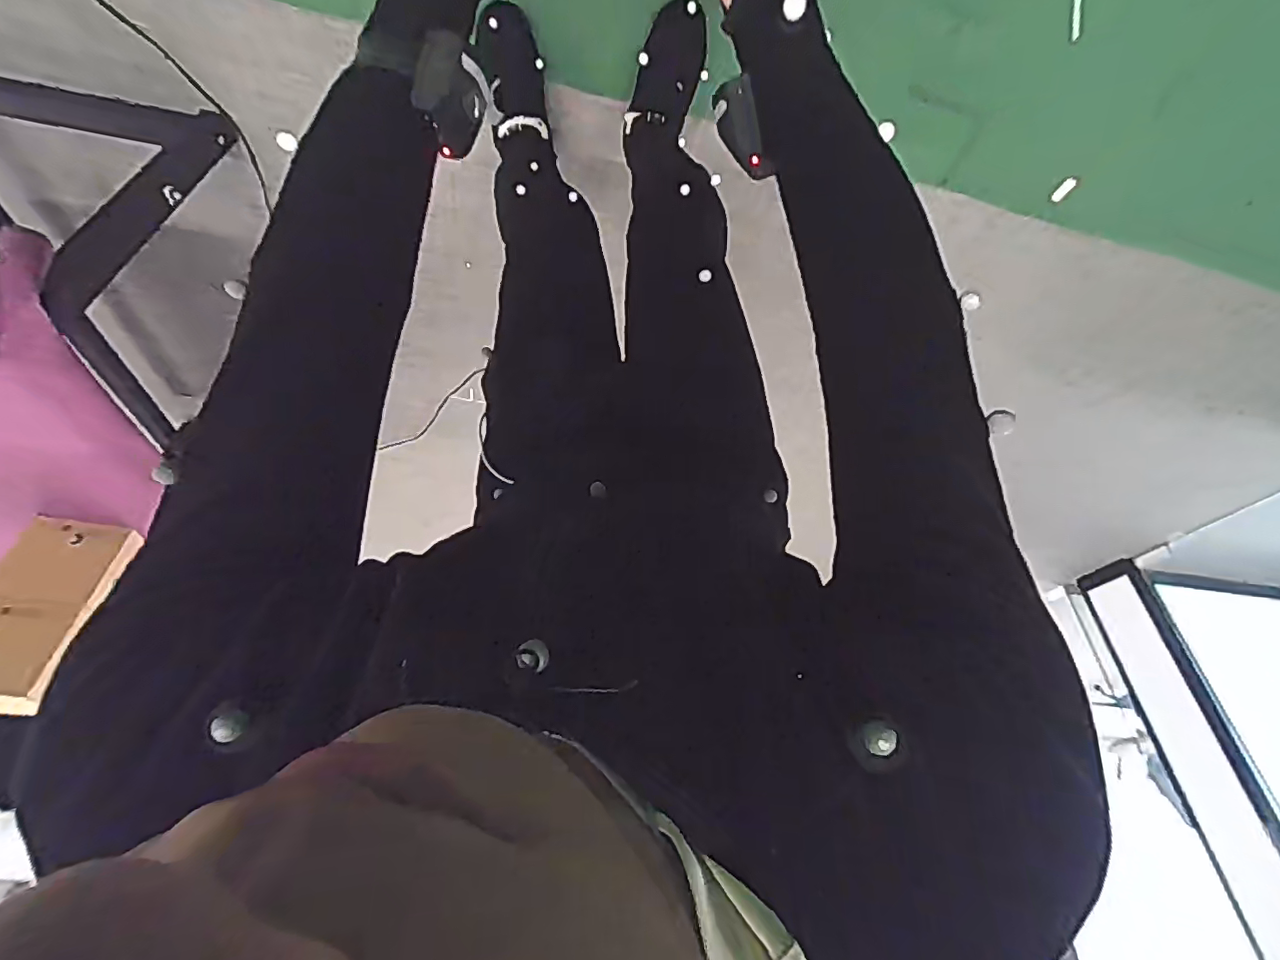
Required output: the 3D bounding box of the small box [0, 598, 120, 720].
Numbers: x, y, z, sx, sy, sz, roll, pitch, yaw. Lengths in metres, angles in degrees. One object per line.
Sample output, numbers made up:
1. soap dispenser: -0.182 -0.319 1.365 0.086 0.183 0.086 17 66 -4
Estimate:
1. small box: -1.131 0.330 0.997 0.168 0.176 0.179 11 143 -13
